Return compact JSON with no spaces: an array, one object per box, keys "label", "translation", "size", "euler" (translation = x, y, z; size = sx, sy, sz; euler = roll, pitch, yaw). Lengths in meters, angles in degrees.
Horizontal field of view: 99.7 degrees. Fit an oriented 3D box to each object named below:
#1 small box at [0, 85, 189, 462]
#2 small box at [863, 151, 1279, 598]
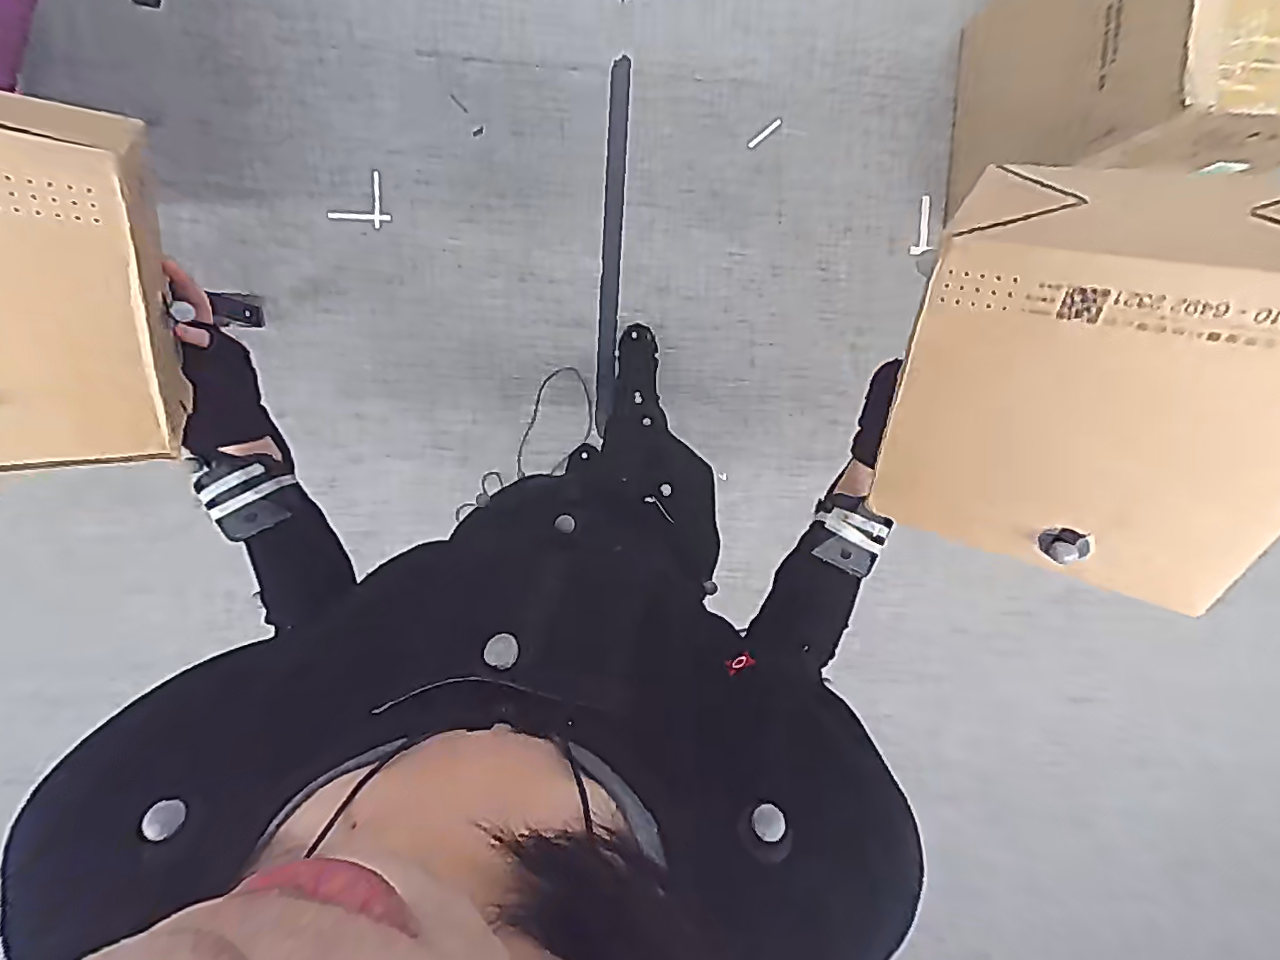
[{"label":"small box","translation":[-0.369,-0.121,0.290],"size":[0.179,0.168,0.176],"euler":[-6,124,-35]},{"label":"small box","translation":[0.247,-0.075,0.302],"size":[0.168,0.179,0.176],"euler":[20,136,28]}]
